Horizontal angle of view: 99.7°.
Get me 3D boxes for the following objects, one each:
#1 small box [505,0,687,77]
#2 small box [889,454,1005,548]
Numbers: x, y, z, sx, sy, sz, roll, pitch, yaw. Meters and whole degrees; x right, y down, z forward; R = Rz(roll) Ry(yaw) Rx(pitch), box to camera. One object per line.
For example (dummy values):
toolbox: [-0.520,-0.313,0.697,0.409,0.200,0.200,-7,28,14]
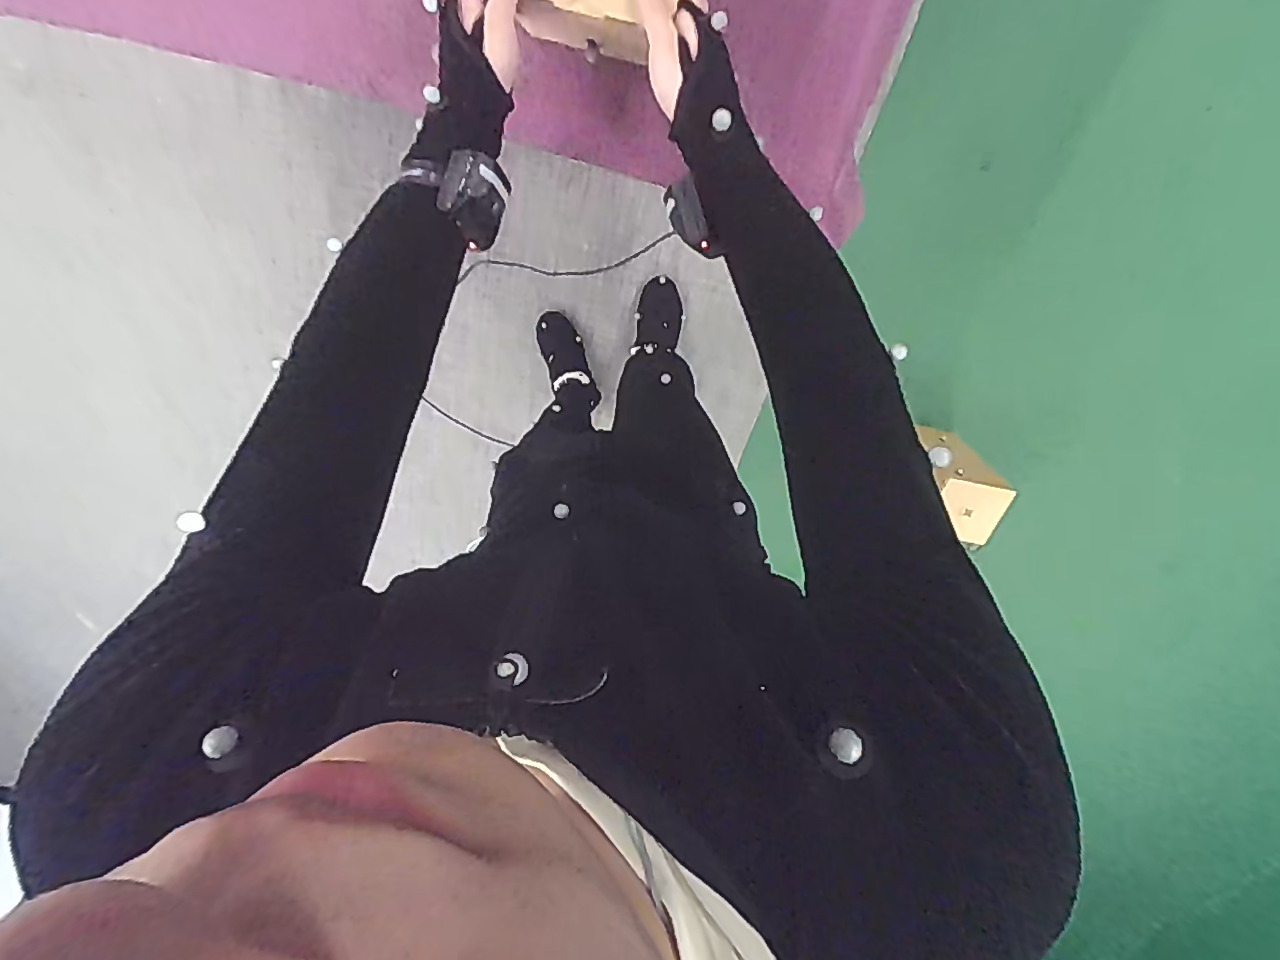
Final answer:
small box: [-0.031,-0.504,0.491,0.168,0.176,0.179,13,118,-3]
small box: [0.784,0.048,1.401,0.179,0.176,0.168,11,120,-2]
